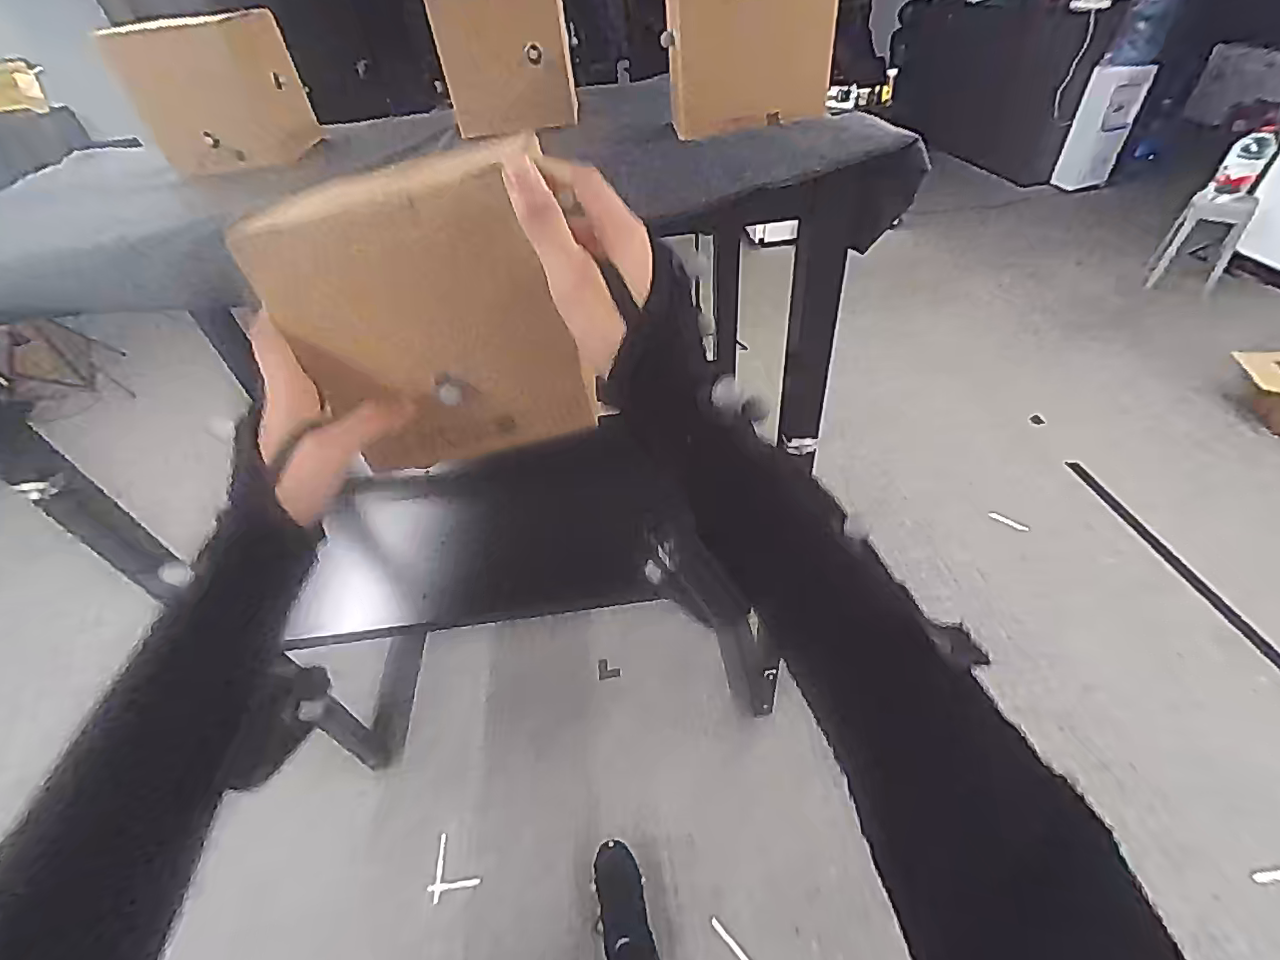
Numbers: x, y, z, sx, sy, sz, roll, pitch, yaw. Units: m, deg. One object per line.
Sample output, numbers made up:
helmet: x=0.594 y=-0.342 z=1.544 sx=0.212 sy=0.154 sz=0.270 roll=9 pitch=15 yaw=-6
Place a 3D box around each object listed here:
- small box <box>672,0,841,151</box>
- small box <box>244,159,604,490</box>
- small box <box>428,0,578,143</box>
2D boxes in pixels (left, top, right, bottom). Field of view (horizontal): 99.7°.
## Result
small box: x=0.125 y=-0.507 z=0.643 sx=0.168 sy=0.176 sz=0.179 roll=-6 pitch=42 yaw=3
small box: x=-0.126 y=-0.118 z=0.400 sx=0.168 sy=0.176 sz=0.179 roll=-13 pitch=35 yaw=3
small box: x=-0.190 y=-0.628 z=0.816 sx=0.179 sy=0.176 sz=0.168 roll=-6 pitch=42 yaw=0
